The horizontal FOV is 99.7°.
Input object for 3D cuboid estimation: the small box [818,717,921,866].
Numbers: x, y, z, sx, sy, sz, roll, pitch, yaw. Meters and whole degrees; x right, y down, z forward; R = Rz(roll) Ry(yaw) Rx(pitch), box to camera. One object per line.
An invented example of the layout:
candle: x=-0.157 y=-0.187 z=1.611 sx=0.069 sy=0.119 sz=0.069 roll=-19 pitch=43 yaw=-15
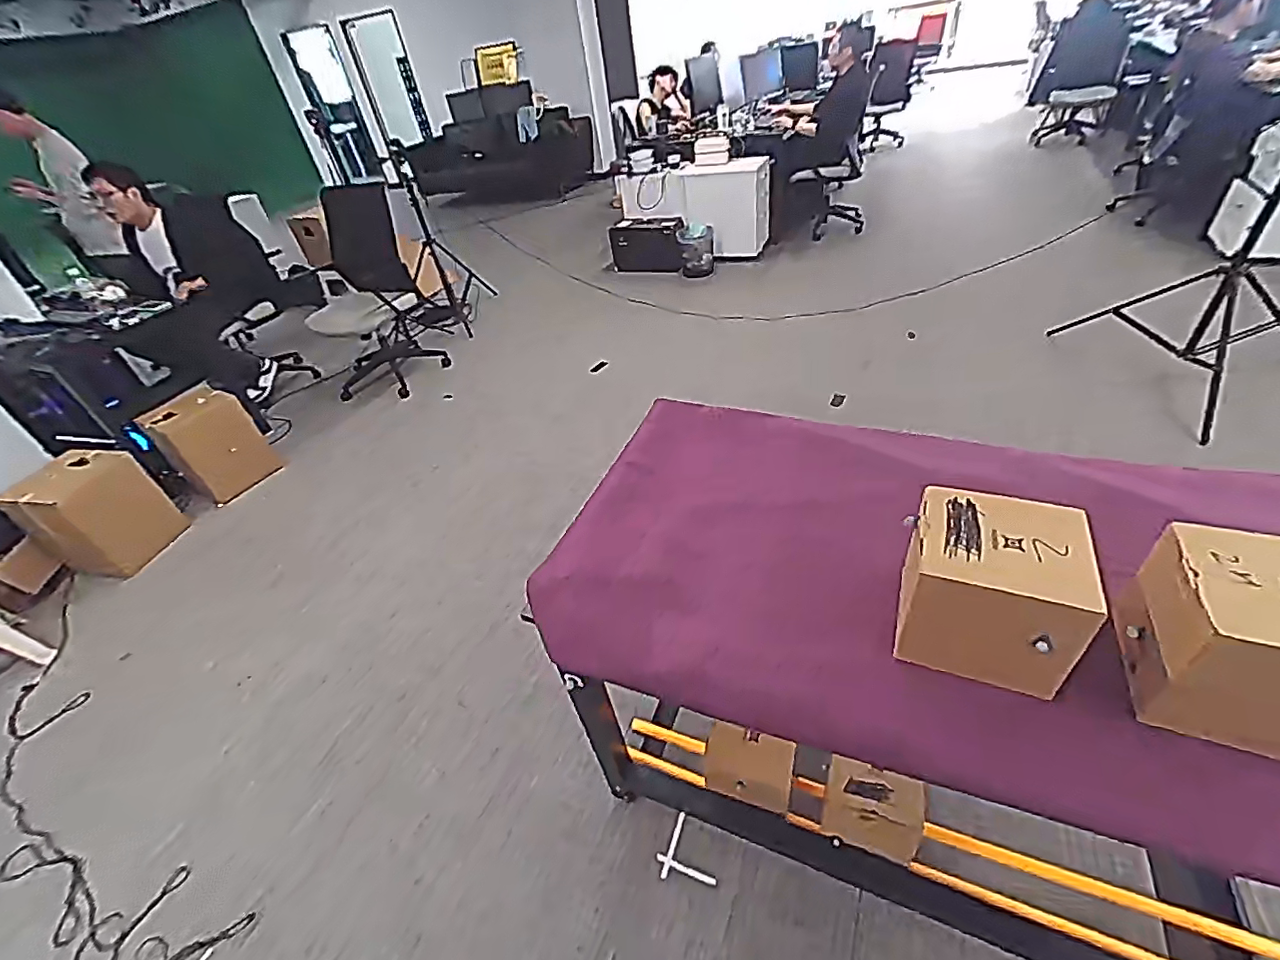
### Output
small box: x=0.452 y=0.616 z=1.072 sx=0.168 sy=0.176 sz=0.179 roll=9 pitch=36 yaw=22

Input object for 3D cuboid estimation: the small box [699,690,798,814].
small box: x=0.236 y=0.586 z=1.160 sx=0.179 sy=0.176 sz=0.168 roll=7 pitch=43 yaw=20
